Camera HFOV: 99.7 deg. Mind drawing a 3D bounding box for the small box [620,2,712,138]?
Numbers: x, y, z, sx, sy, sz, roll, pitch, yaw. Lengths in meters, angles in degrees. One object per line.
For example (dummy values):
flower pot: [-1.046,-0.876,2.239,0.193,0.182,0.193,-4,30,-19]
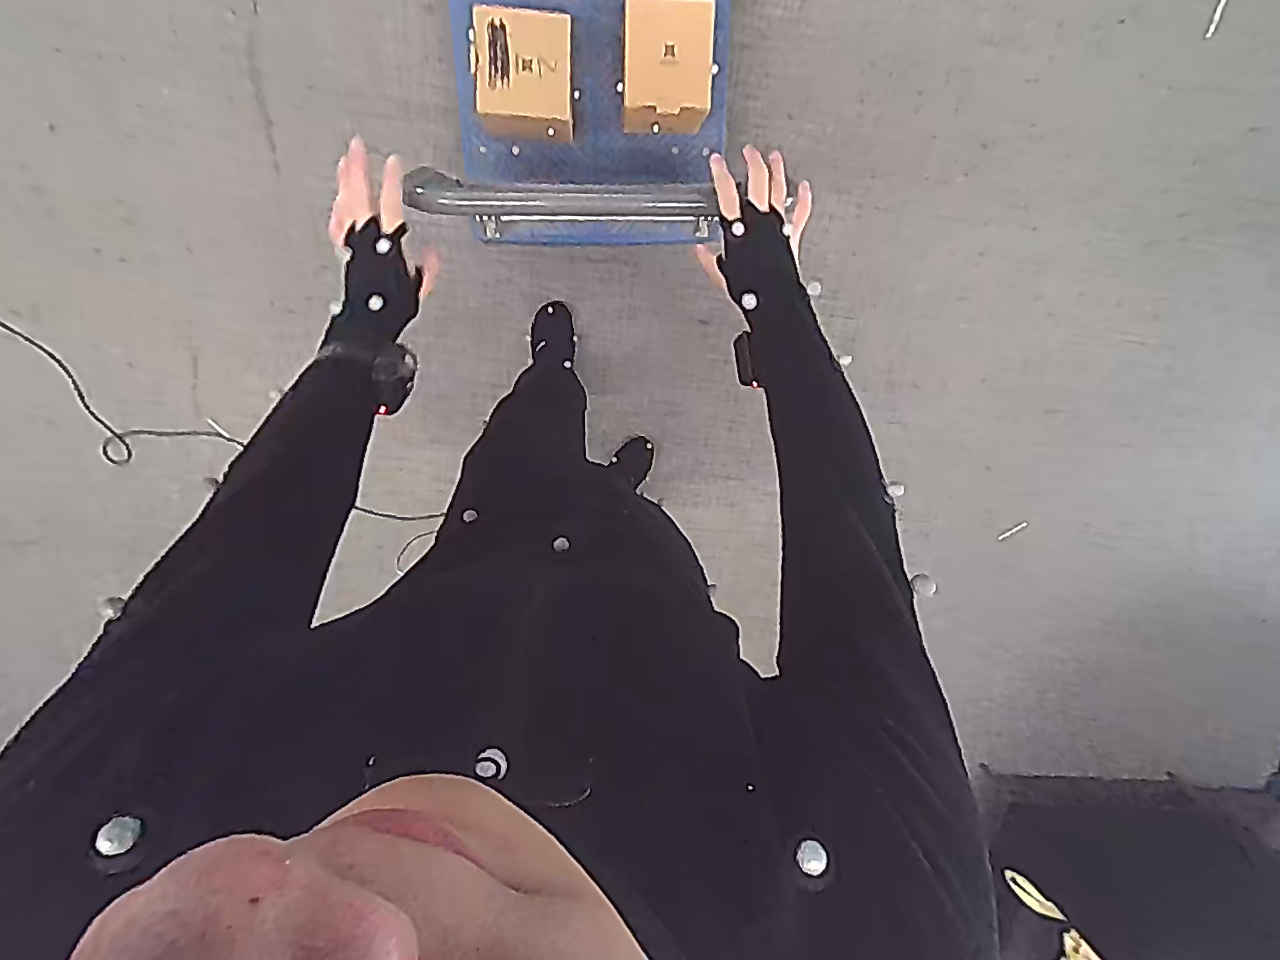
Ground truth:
small box: [0.045,-0.824,1.102,0.168,0.176,0.179,-1,109,-4]
